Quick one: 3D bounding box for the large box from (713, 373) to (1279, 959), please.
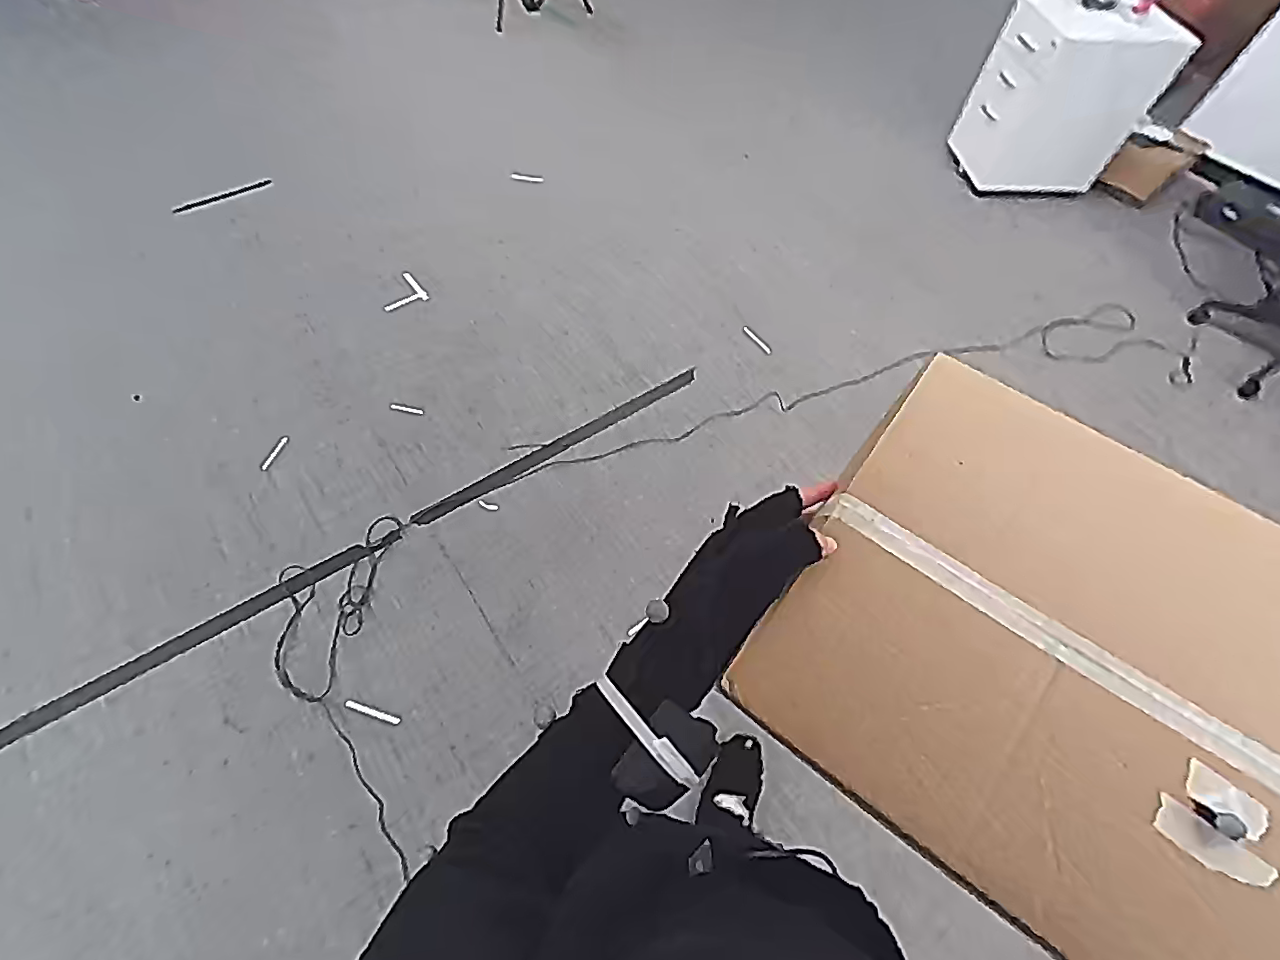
[{"bbox_3d":[0.320,0.180,0.497,0.408,0.320,0.320,35,78,15],"label":"large box"}]
